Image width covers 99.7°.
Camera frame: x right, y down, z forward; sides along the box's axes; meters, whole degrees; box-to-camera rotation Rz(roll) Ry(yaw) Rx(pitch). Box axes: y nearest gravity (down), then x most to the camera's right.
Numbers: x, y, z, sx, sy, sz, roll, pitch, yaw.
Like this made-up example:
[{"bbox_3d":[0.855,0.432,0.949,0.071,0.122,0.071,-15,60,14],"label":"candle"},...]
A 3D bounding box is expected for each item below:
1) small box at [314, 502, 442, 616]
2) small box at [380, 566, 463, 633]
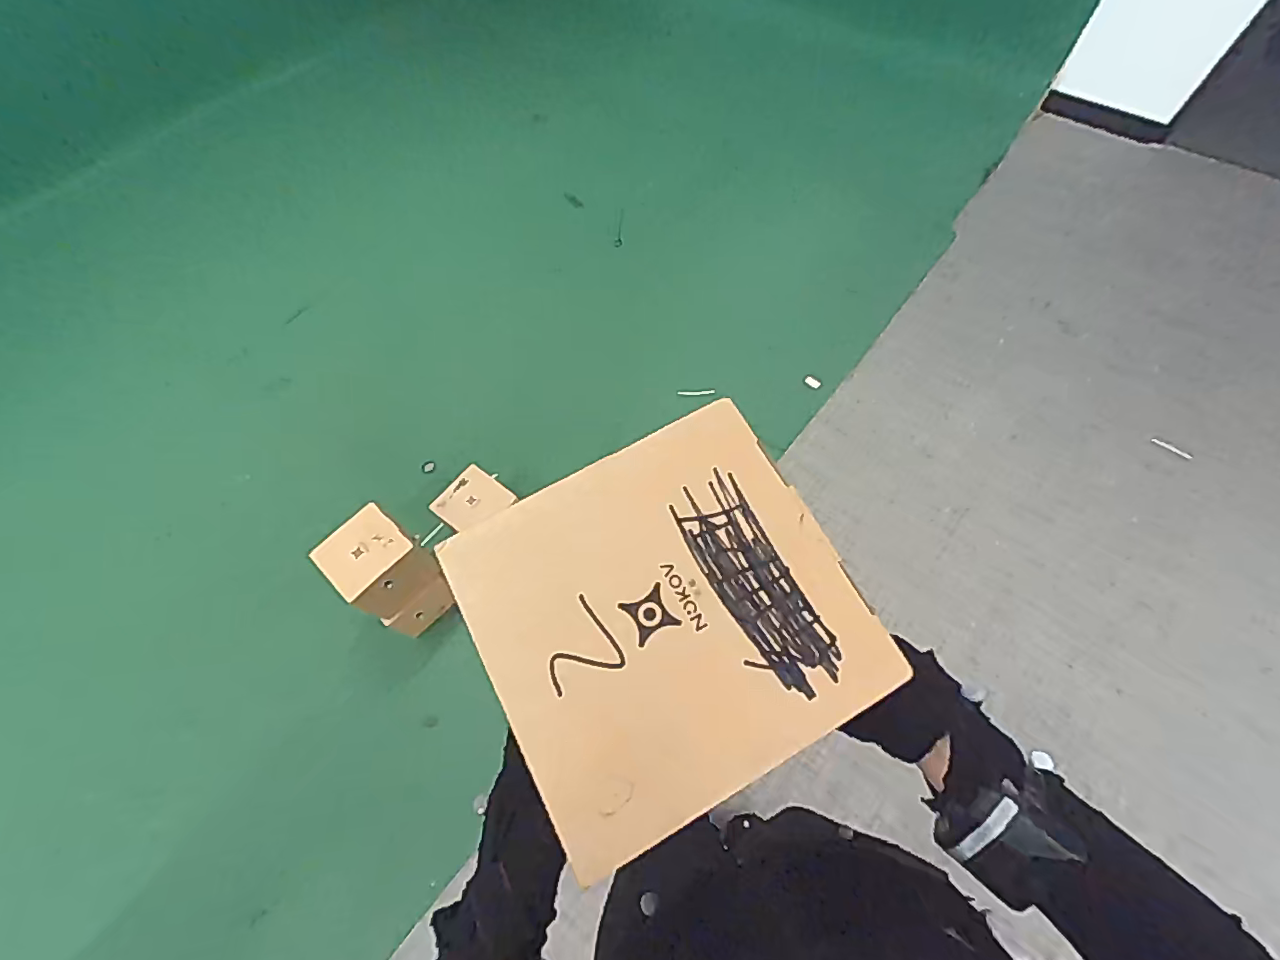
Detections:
[{"bbox_3d":[-0.602,0.191,1.265,0.168,0.176,0.179,39,71,20],"label":"small box"},{"bbox_3d":[-0.593,0.278,1.405,0.179,0.176,0.168,40,72,21],"label":"small box"}]
